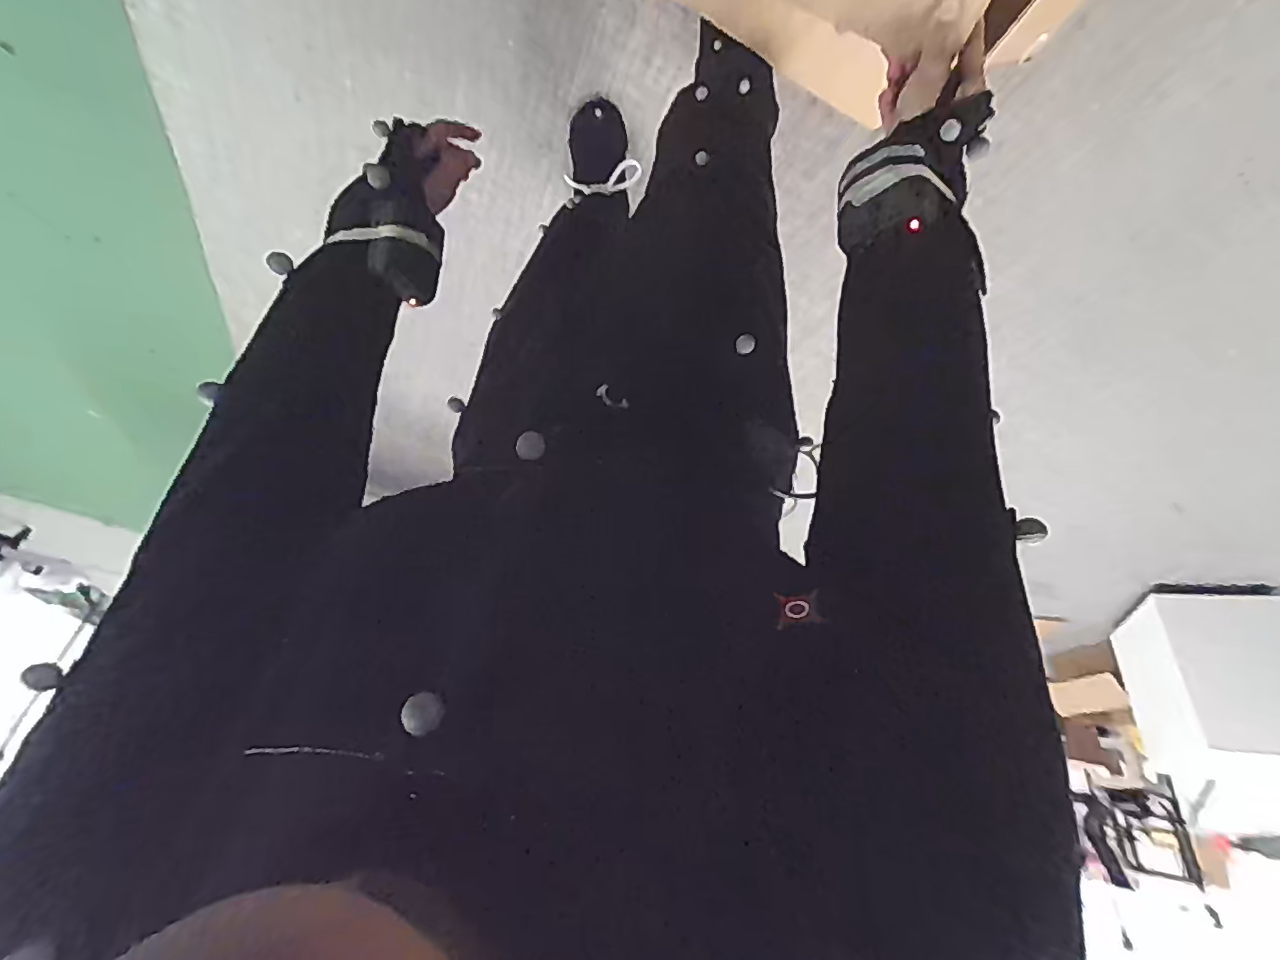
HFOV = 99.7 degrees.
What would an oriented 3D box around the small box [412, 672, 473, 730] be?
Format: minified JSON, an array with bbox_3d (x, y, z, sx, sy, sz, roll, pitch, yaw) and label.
[{"bbox_3d":[-0.745,0.837,2.046,0.168,0.176,0.179,20,148,-15],"label":"small box"}]

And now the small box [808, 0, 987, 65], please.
[{"bbox_3d":[0.212,-0.454,0.398,0.168,0.176,0.179,27,139,2],"label":"small box"}]
